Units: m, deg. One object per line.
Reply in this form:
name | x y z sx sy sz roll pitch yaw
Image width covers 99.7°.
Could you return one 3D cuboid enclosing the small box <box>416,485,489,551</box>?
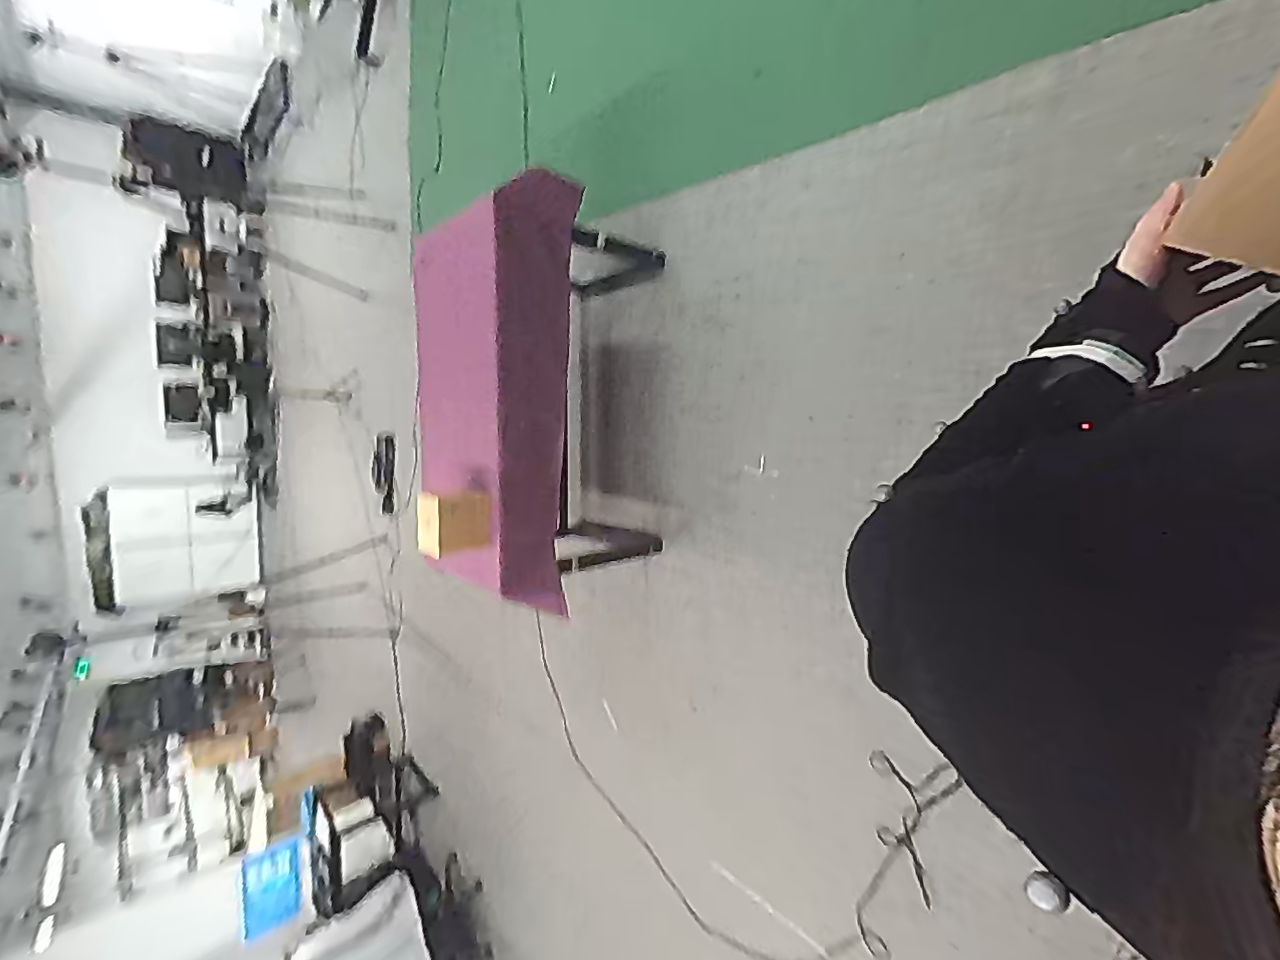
small box | -0.586 0.113 1.691 0.168 0.176 0.179 7 98 46
